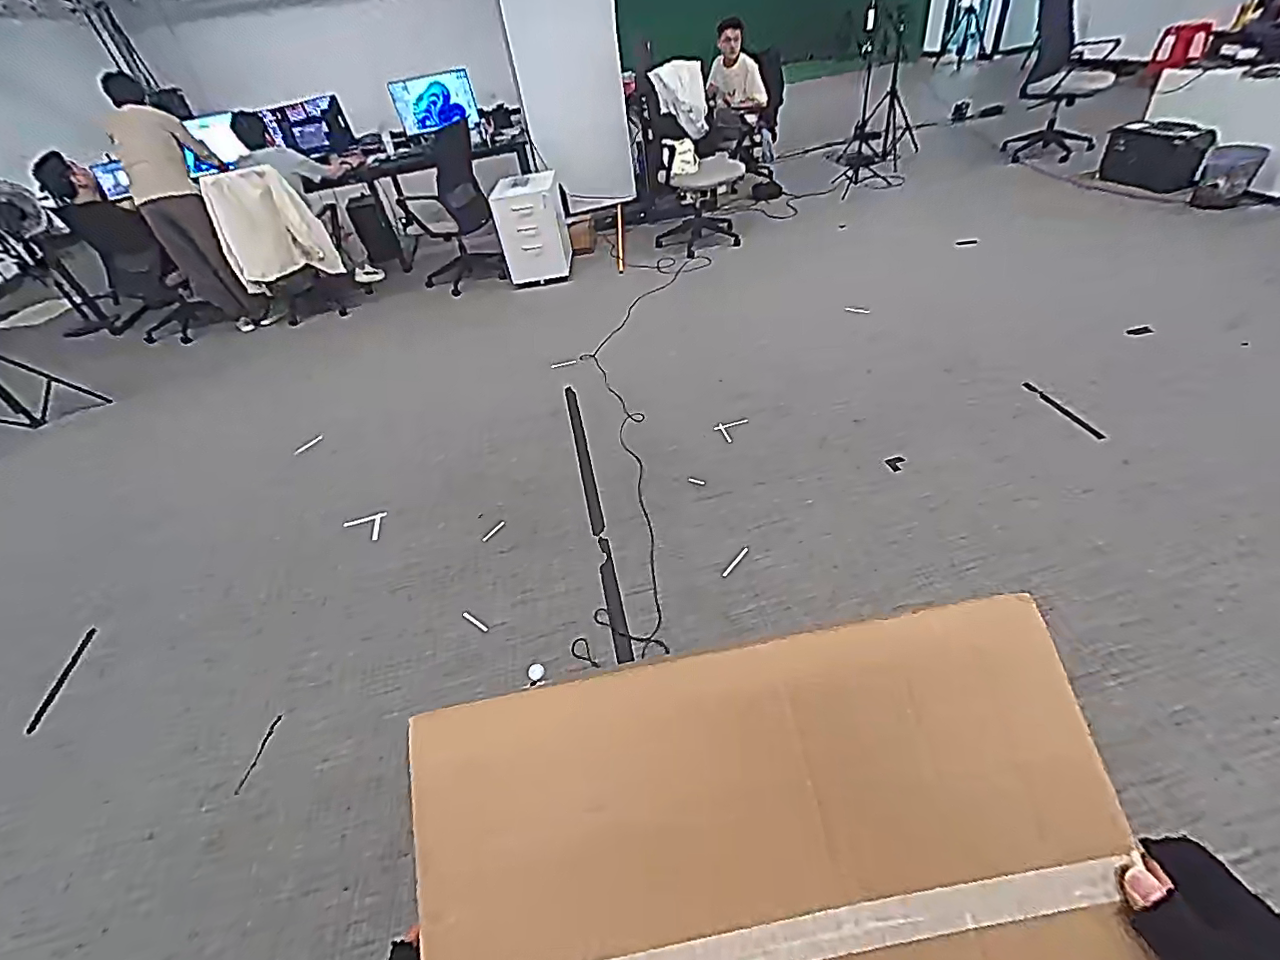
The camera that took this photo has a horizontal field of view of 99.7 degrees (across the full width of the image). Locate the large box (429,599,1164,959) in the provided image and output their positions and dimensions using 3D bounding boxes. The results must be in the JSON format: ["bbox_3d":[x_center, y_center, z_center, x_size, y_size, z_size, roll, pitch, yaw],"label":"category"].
[{"bbox_3d":[0.092,0.307,0.451,0.408,0.320,0.320,-12,73,1],"label":"large box"}]
